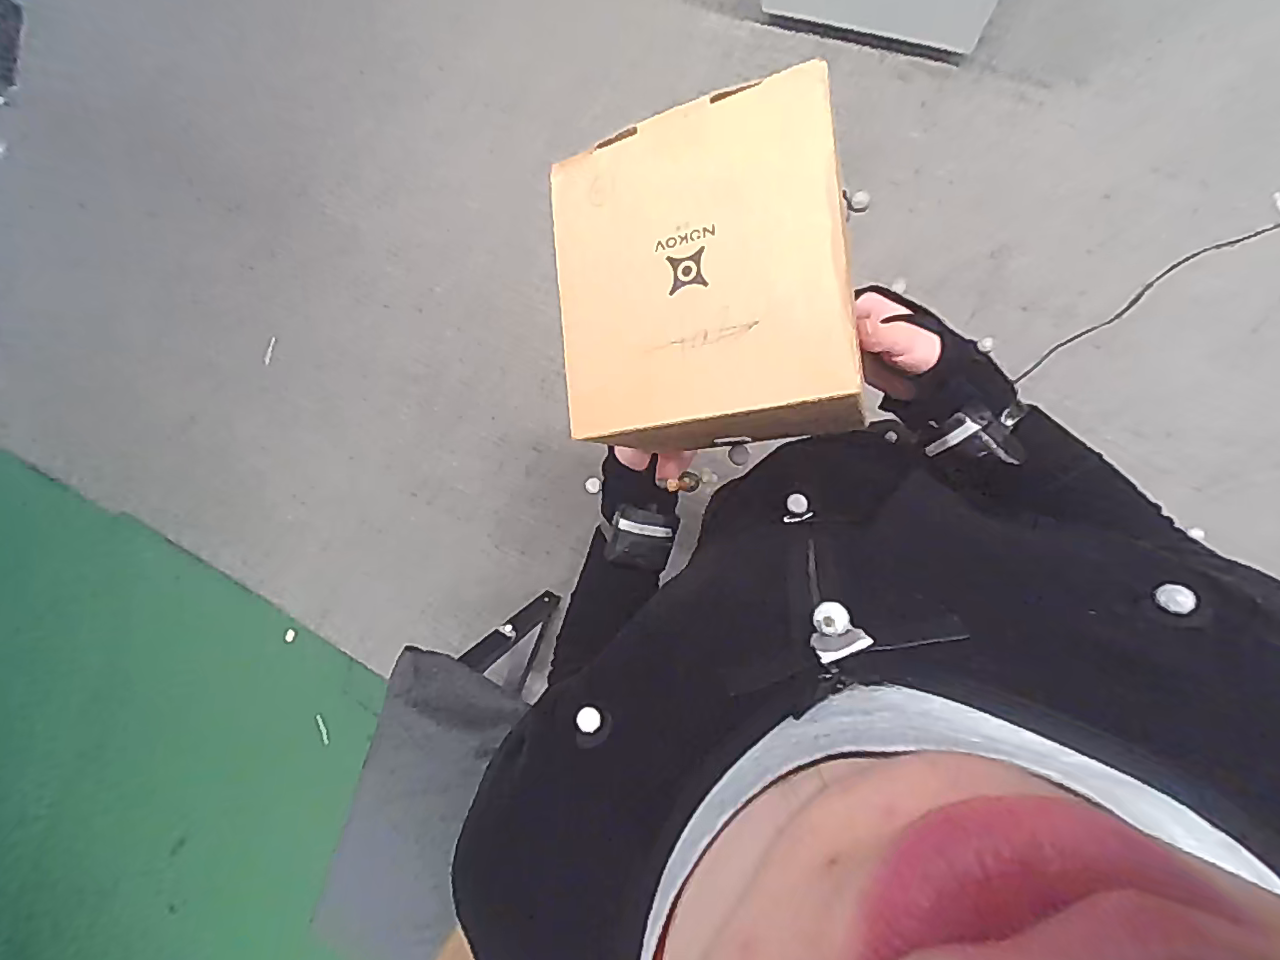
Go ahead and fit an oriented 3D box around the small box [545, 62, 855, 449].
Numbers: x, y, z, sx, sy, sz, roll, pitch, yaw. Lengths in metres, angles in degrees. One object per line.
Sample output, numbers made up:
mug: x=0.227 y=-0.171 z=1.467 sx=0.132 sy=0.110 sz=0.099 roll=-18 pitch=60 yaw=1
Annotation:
small box: x=0.053 y=-0.120 z=0.374 sx=0.168 sy=0.176 sz=0.179 roll=-6 pitch=88 yaw=24
